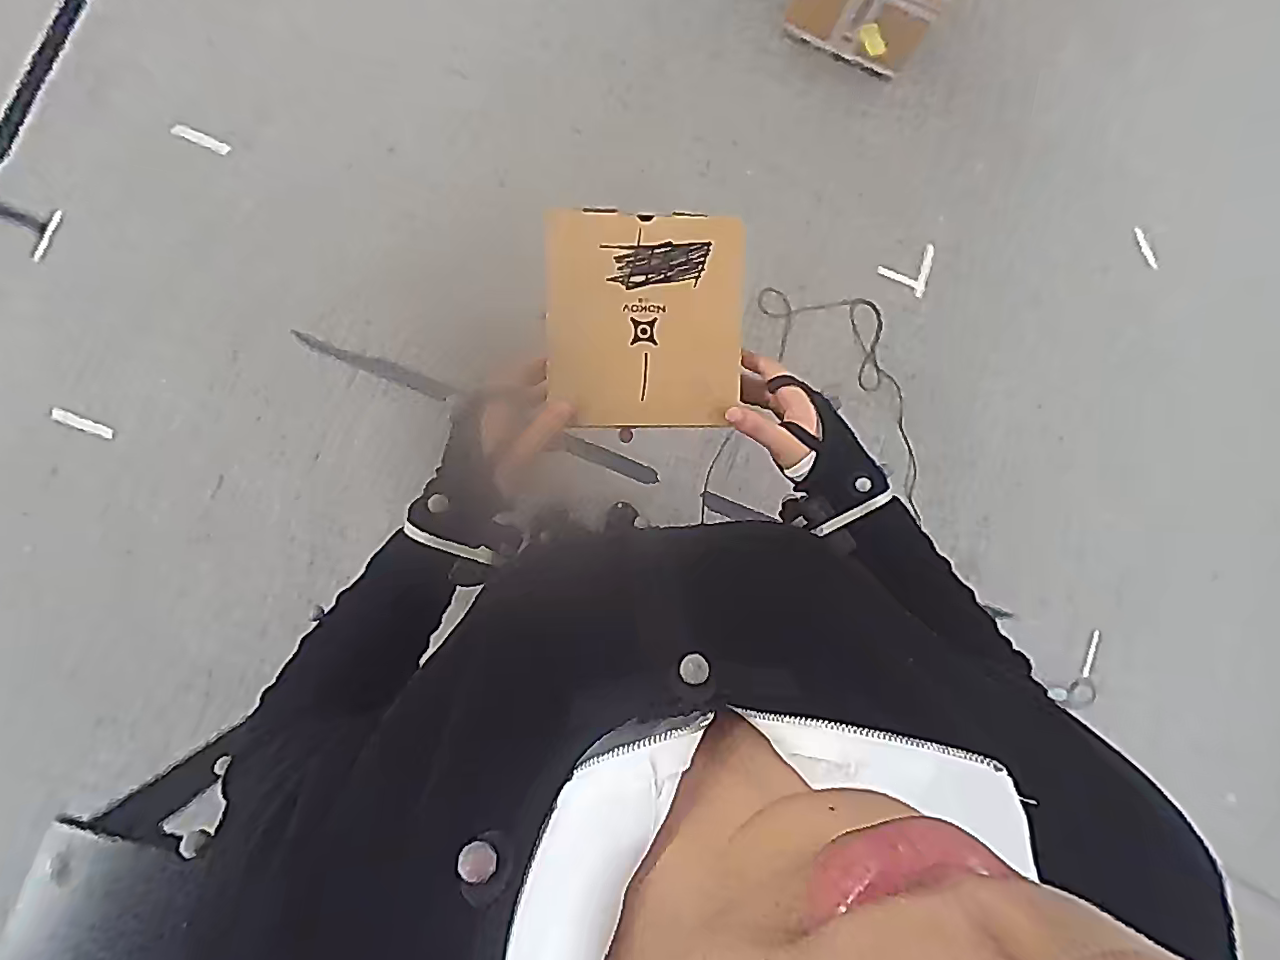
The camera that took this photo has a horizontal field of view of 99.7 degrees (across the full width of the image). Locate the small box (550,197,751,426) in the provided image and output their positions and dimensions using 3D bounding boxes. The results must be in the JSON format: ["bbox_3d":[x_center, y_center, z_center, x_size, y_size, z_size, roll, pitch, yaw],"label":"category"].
[{"bbox_3d":[0.000,-0.143,0.522,0.168,0.176,0.179,1,96,-6],"label":"small box"}]
